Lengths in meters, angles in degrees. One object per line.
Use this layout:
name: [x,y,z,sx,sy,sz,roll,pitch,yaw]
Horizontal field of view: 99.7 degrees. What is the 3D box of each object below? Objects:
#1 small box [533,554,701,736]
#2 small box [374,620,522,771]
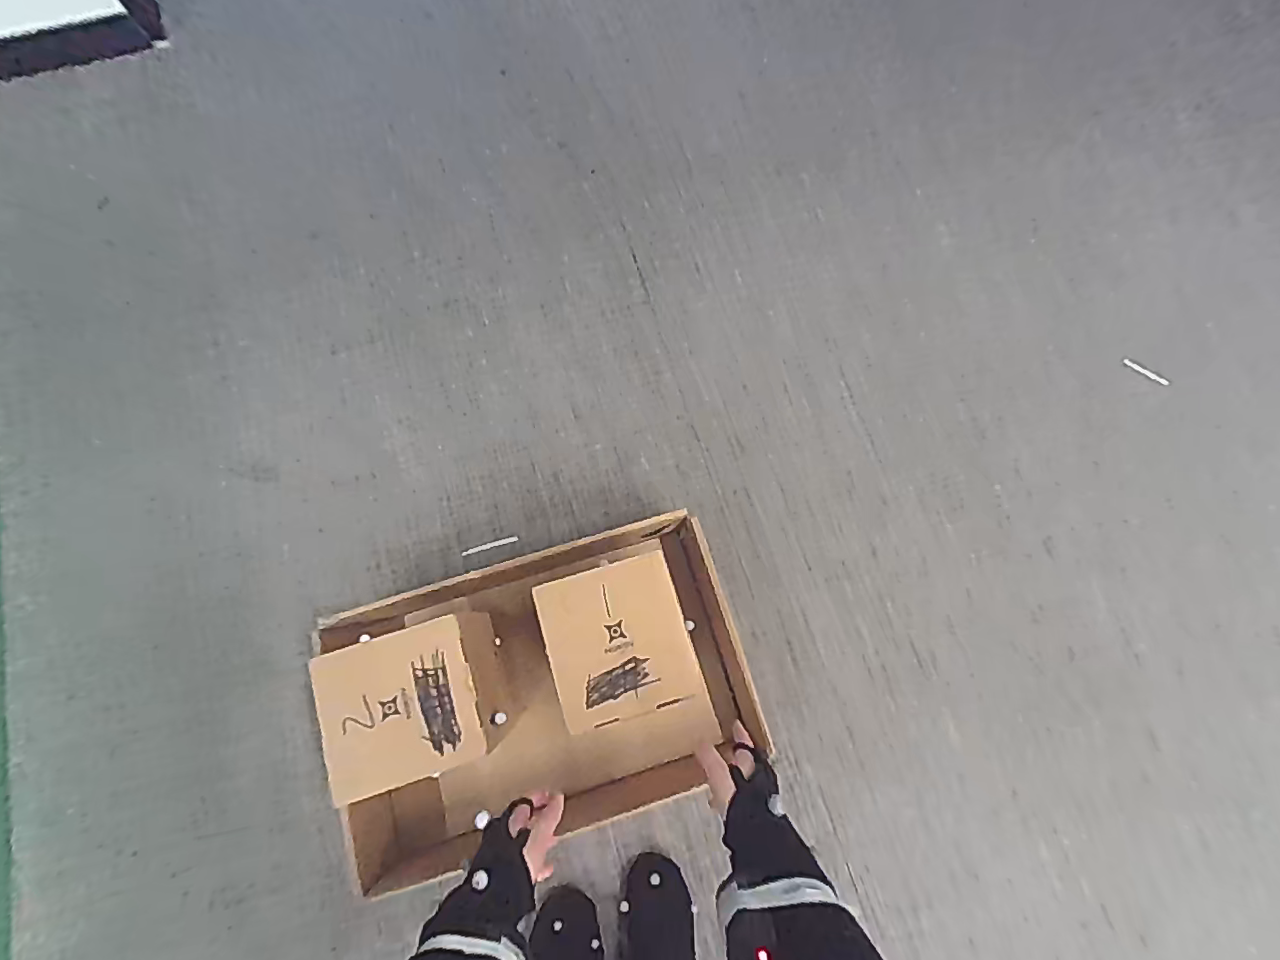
small box: [-0.028,0.208,0.714,0.168,0.176,0.179,-16,77,-4]
small box: [-0.292,0.325,0.852,0.168,0.176,0.179,-13,76,-5]
